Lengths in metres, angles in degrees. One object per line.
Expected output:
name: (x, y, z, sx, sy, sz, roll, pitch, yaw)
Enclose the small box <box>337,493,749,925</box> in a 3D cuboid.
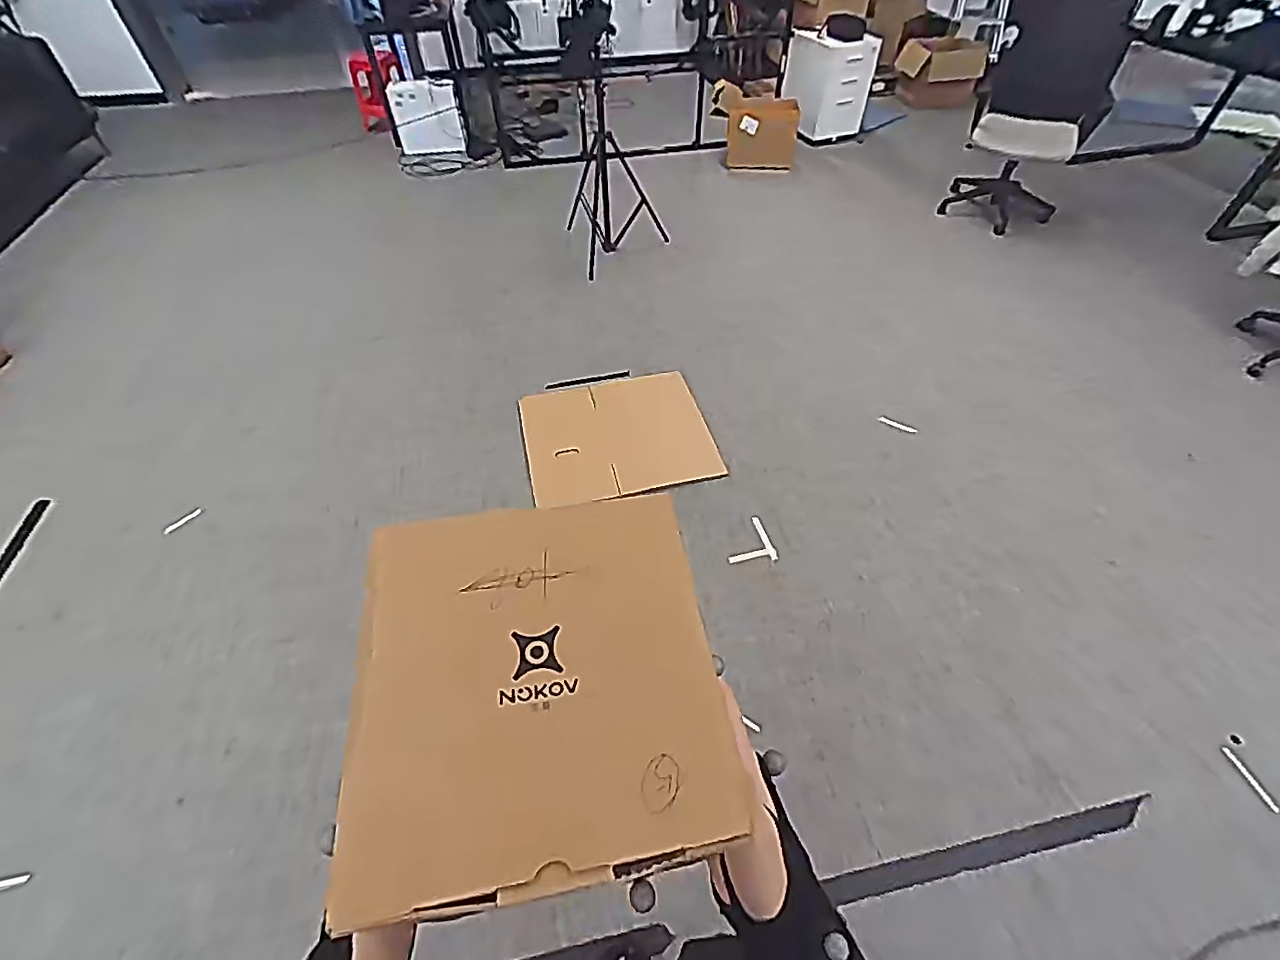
small box: (-0.052, 0.134, 0.322, 0.168, 0.176, 0.179, -7, 52, -10)
